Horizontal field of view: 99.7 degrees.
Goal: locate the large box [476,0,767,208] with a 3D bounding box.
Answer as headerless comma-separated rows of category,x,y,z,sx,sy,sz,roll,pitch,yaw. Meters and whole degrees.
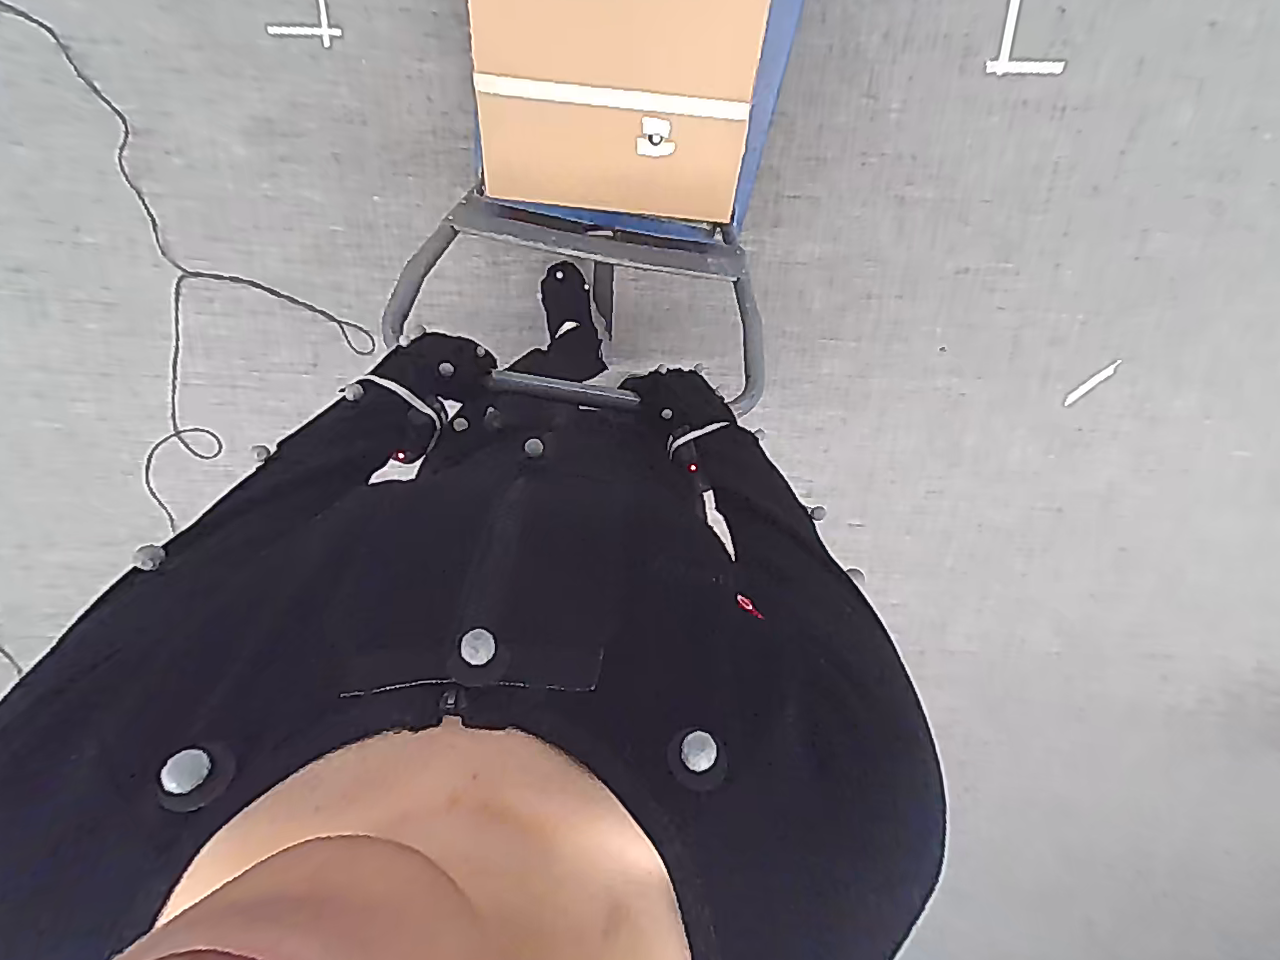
large box,-0.034,-0.679,0.915,0.408,0.320,0.320,4,132,-3
